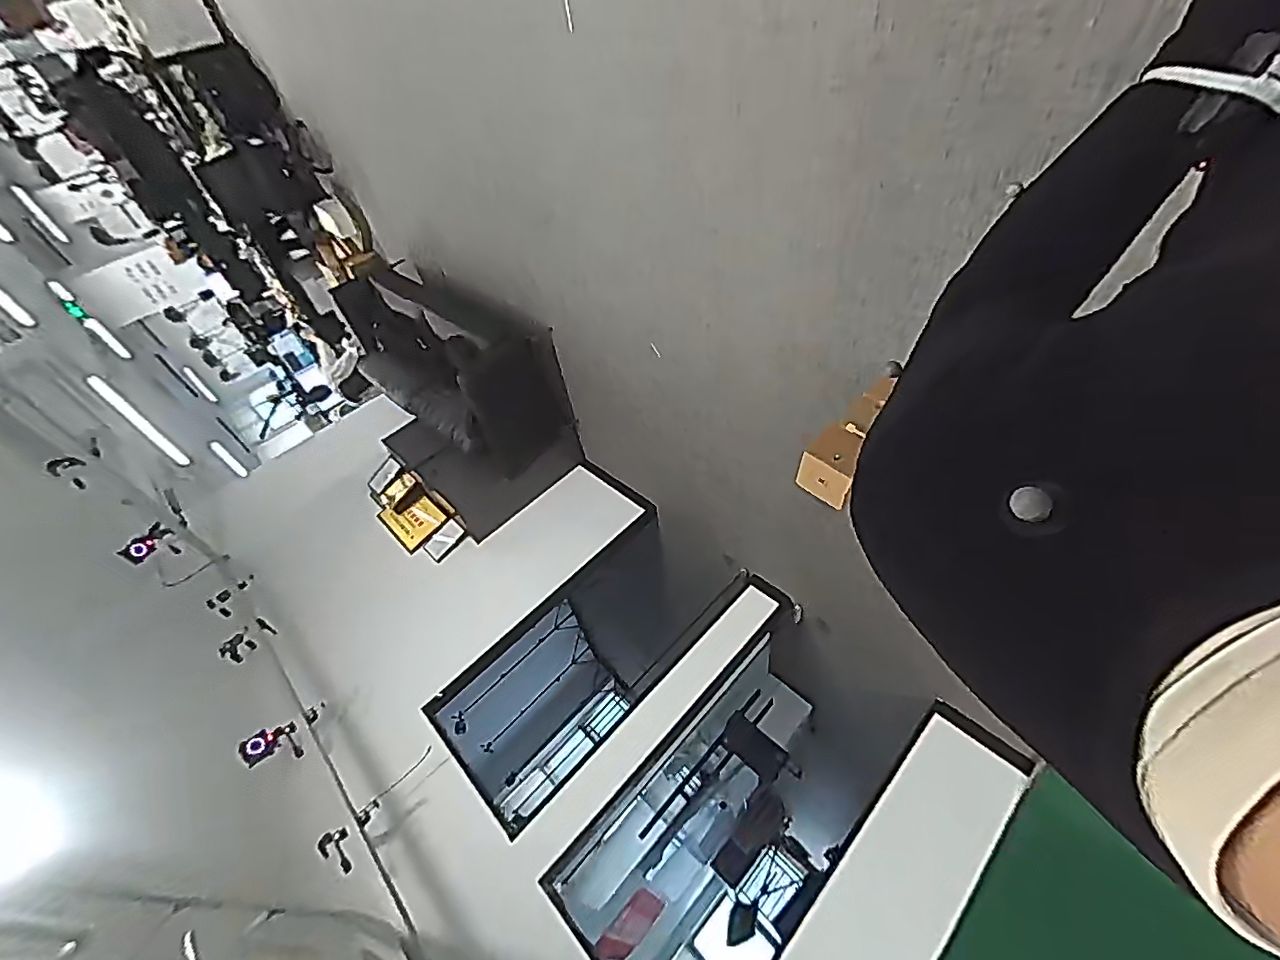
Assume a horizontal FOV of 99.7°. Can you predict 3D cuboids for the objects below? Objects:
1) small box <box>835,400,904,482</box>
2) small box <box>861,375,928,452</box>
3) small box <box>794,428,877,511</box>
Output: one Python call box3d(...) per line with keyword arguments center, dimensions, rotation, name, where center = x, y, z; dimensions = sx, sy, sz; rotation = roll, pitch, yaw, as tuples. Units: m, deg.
box3d(center=(0.752, -0.132, 1.812), dimensions=(0.168, 0.176, 0.179), rotation=(36, 153, 26), name="small box")
box3d(center=(0.866, -0.236, 1.870), dimensions=(0.168, 0.176, 0.179), rotation=(35, 151, 31), name="small box")
box3d(center=(0.633, -0.040, 1.748), dimensions=(0.179, 0.176, 0.168), rotation=(37, 152, 27), name="small box")
